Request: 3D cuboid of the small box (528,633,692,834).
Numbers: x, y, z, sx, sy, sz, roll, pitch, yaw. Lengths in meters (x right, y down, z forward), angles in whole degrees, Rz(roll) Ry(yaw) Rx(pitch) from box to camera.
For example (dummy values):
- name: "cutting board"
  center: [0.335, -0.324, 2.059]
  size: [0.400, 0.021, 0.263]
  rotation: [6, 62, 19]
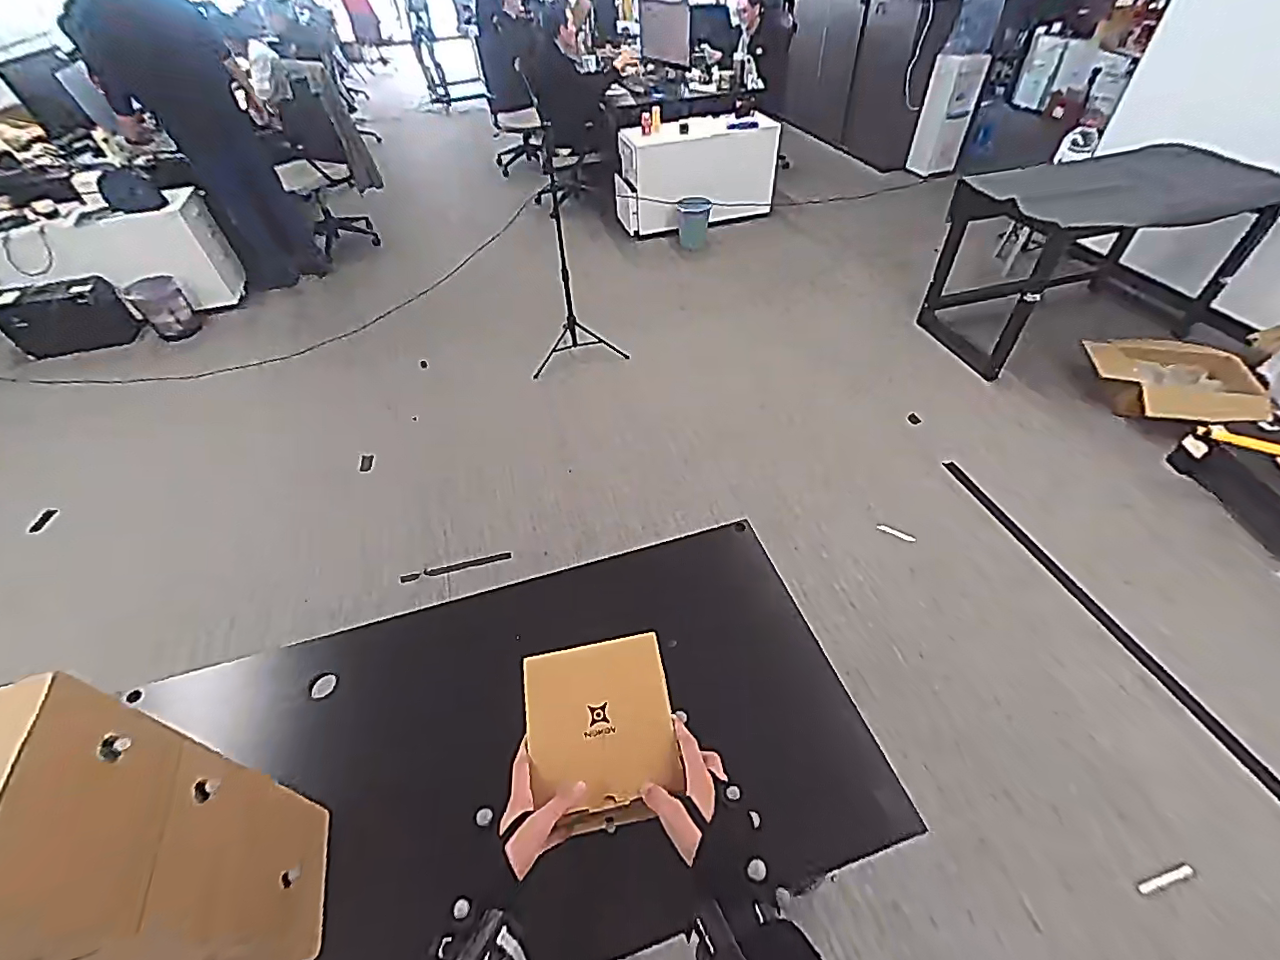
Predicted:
- name: "small box"
  center: [-0.036, 0.313, 0.664]
  size: [0.168, 0.176, 0.179]
  rotation: [-11, 54, -3]

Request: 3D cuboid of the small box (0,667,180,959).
- name: "small box"
  center: [-0.527, 0.289, 0.437]
  size: [0.168, 0.176, 0.179]
  rotation: [-16, 48, -10]

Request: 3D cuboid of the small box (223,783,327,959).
- name: "small box"
  center: [-0.515, 0.516, 0.673]
  size: [0.168, 0.176, 0.179]
  rotation: [-15, 48, -11]
